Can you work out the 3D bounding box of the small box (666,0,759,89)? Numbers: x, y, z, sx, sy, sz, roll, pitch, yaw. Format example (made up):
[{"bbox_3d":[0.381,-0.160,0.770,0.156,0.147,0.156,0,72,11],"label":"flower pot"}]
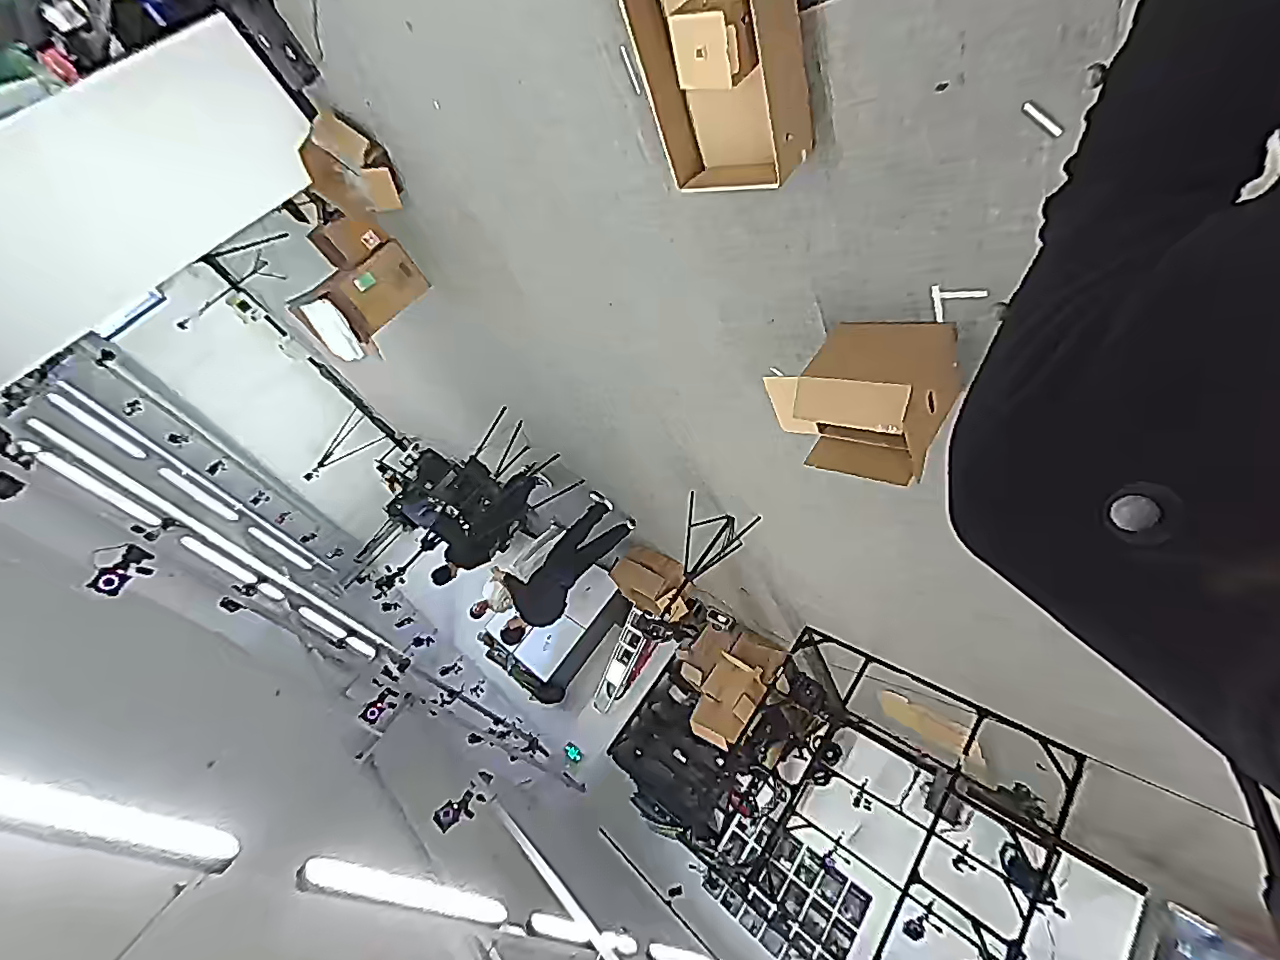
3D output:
[{"bbox_3d":[0.197,-1.151,1.405,0.179,0.176,0.168,26,157,31],"label":"small box"}]
